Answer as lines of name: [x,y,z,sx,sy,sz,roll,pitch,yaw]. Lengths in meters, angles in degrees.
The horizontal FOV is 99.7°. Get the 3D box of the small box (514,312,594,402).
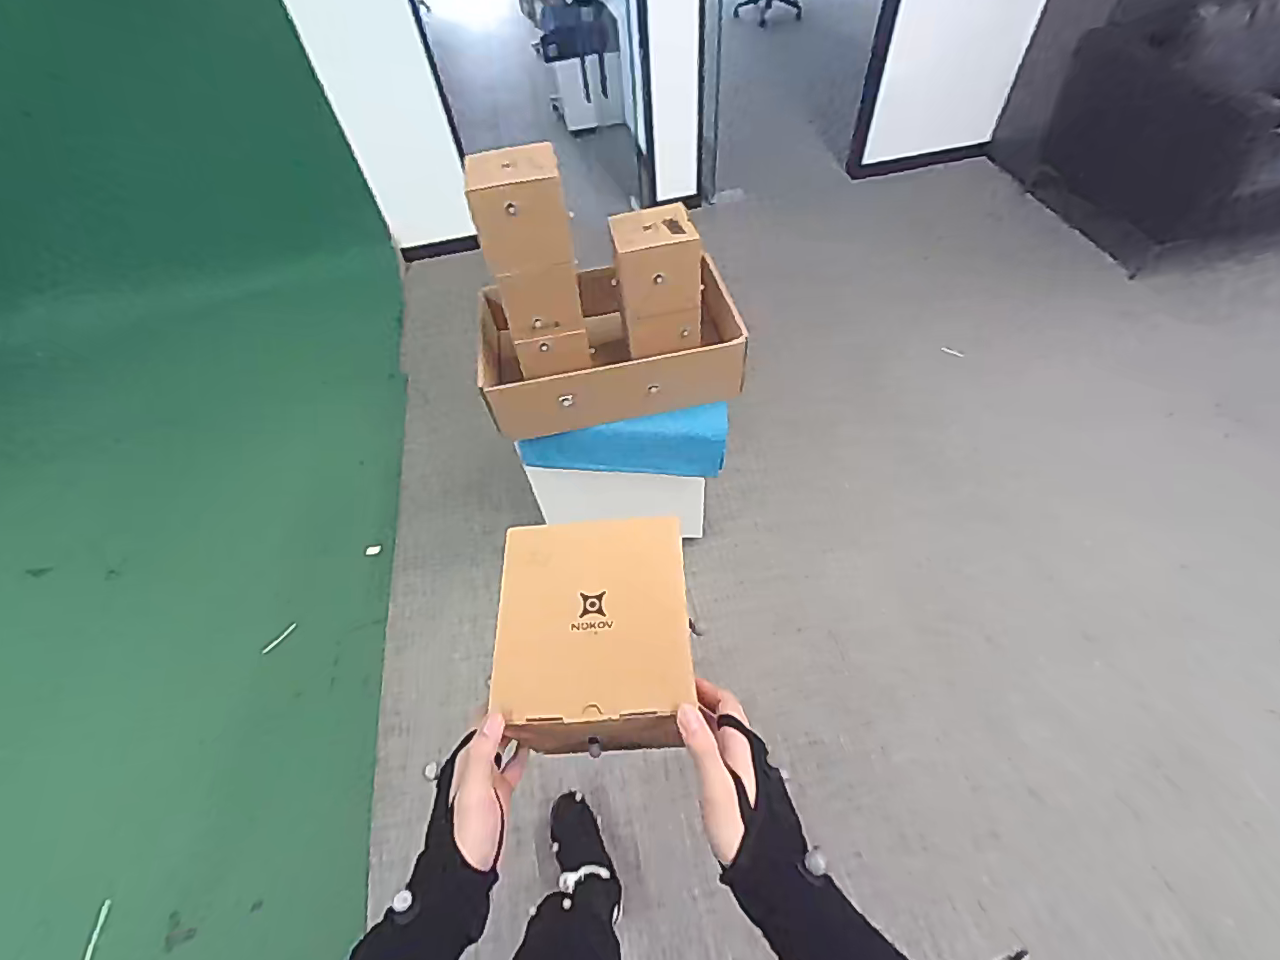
small box: [-0.214,-0.321,1.341,0.168,0.176,0.179,-11,51,-3]

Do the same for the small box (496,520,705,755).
small box: [-0.028,0.158,0.530,0.168,0.176,0.179,-4,56,3]

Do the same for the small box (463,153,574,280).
small box: [-0.240,-0.525,1.087,0.179,0.176,0.168,-11,51,-3]

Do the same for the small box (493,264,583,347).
small box: [-0.228,-0.426,1.218,0.168,0.176,0.179,-11,52,-4]

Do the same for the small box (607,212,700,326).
small box: [0.032,-0.476,1.227,0.179,0.176,0.168,-12,51,-2]
